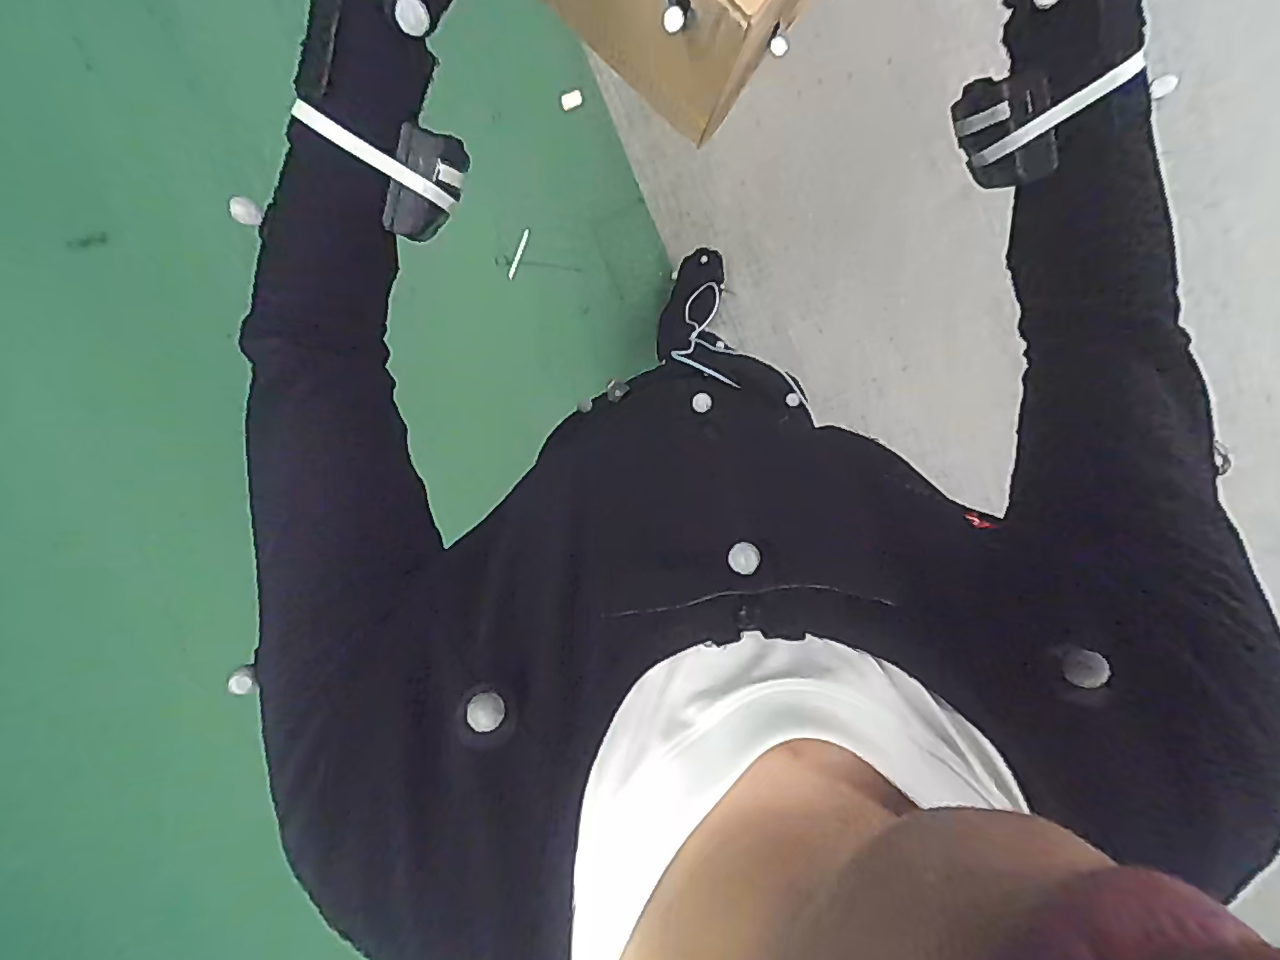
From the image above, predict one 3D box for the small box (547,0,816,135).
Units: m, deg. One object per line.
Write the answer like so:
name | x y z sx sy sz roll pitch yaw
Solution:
small box | 0.038 -0.374 0.349 0.179 0.176 0.168 38 97 -11
